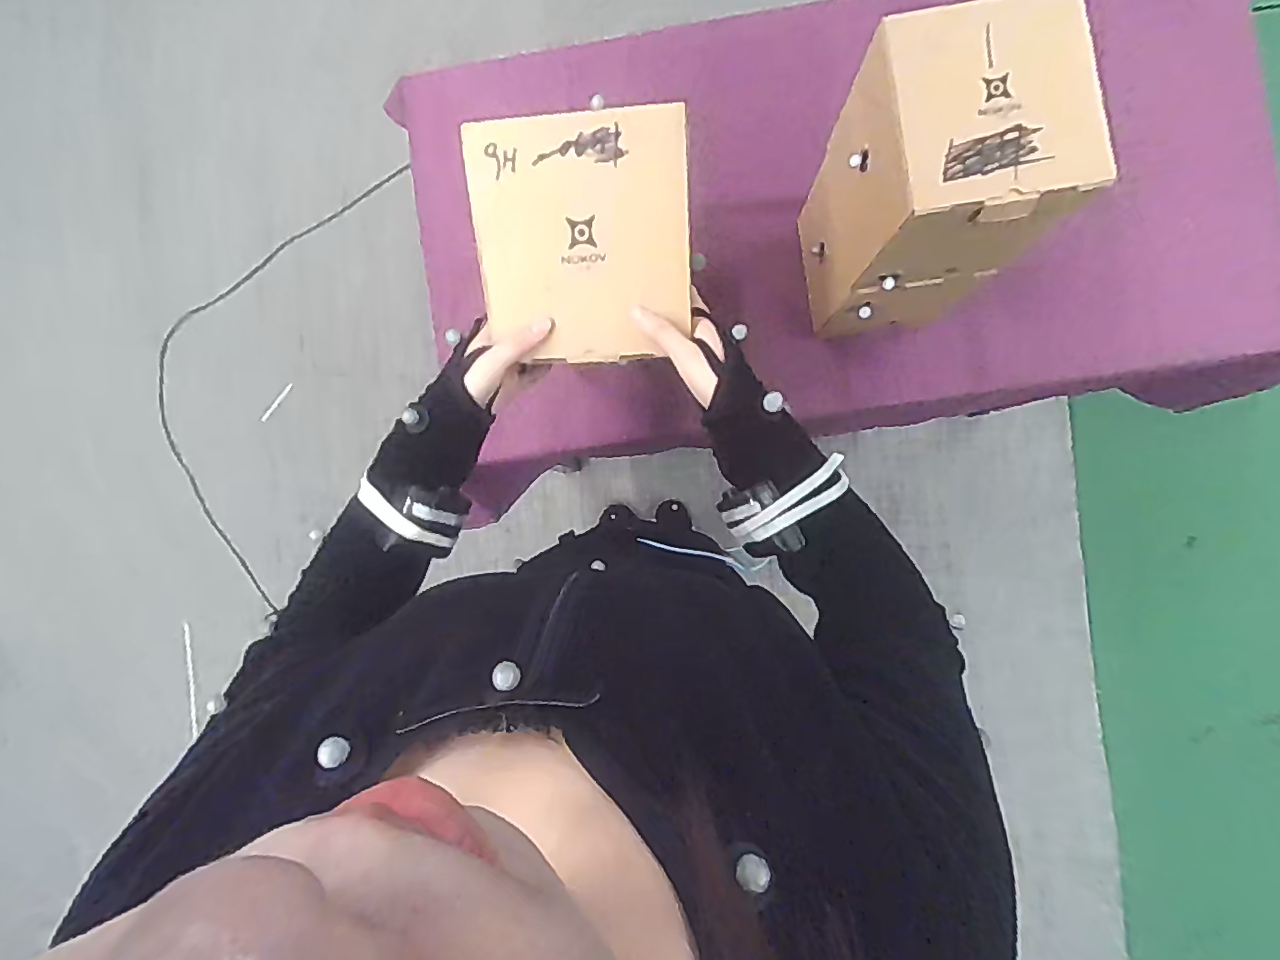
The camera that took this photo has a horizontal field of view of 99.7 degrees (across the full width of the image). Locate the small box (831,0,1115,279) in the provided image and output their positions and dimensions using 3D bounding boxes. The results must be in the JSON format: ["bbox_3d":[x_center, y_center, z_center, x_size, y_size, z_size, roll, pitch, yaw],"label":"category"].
[{"bbox_3d":[0.301,-0.315,0.529,0.168,0.176,0.179,-8,86,3],"label":"small box"}]

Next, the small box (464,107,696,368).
[{"bbox_3d":[-0.034,-0.205,0.485,0.168,0.176,0.179,-2,111,6],"label":"small box"}]
